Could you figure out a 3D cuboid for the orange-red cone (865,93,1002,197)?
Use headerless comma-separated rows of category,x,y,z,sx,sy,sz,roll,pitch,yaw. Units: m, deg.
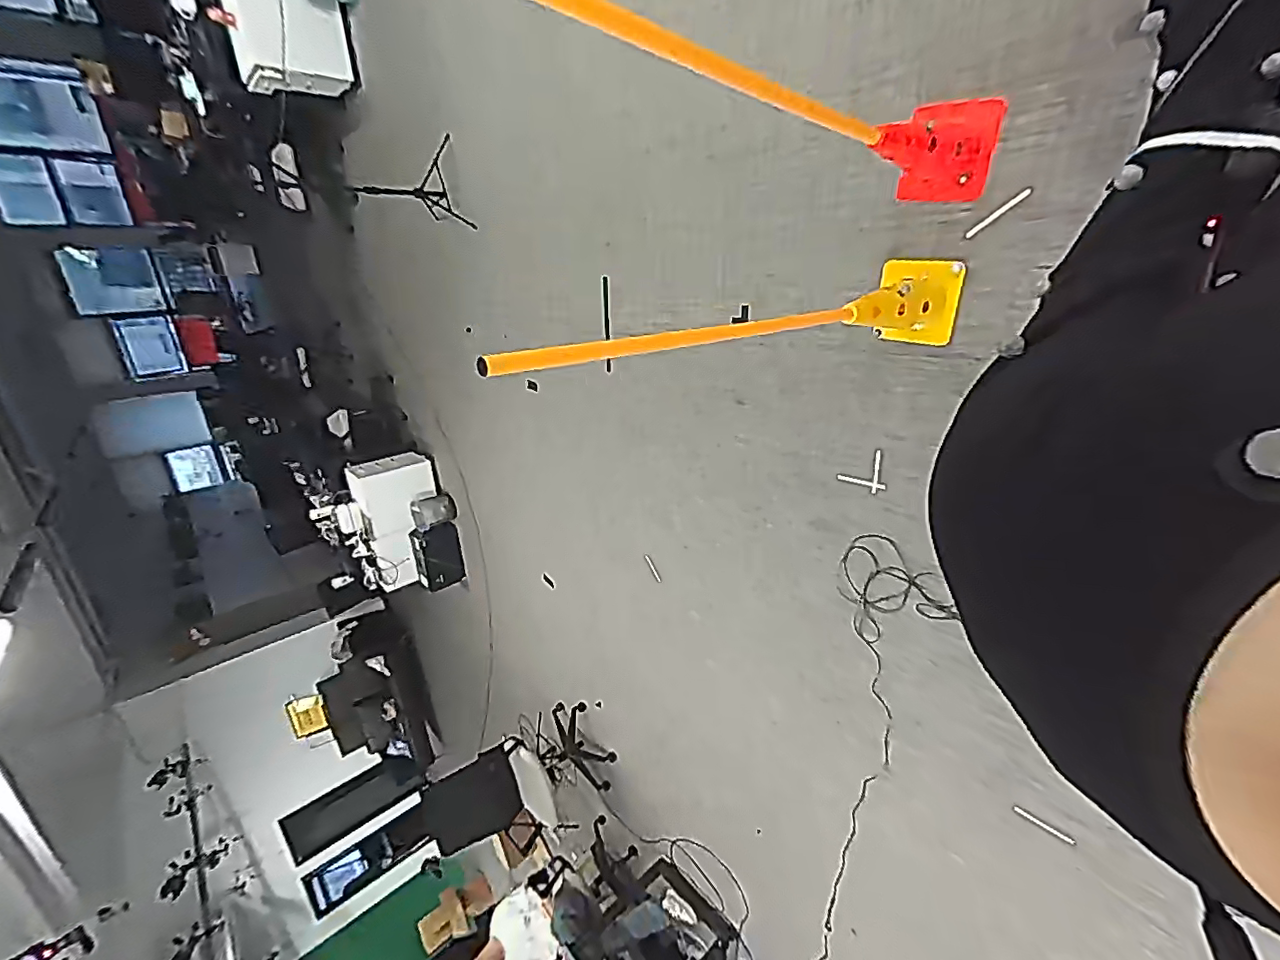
orange-red cone,0.571,-0.718,1.132,0.198,0.360,0.199,28,125,39
